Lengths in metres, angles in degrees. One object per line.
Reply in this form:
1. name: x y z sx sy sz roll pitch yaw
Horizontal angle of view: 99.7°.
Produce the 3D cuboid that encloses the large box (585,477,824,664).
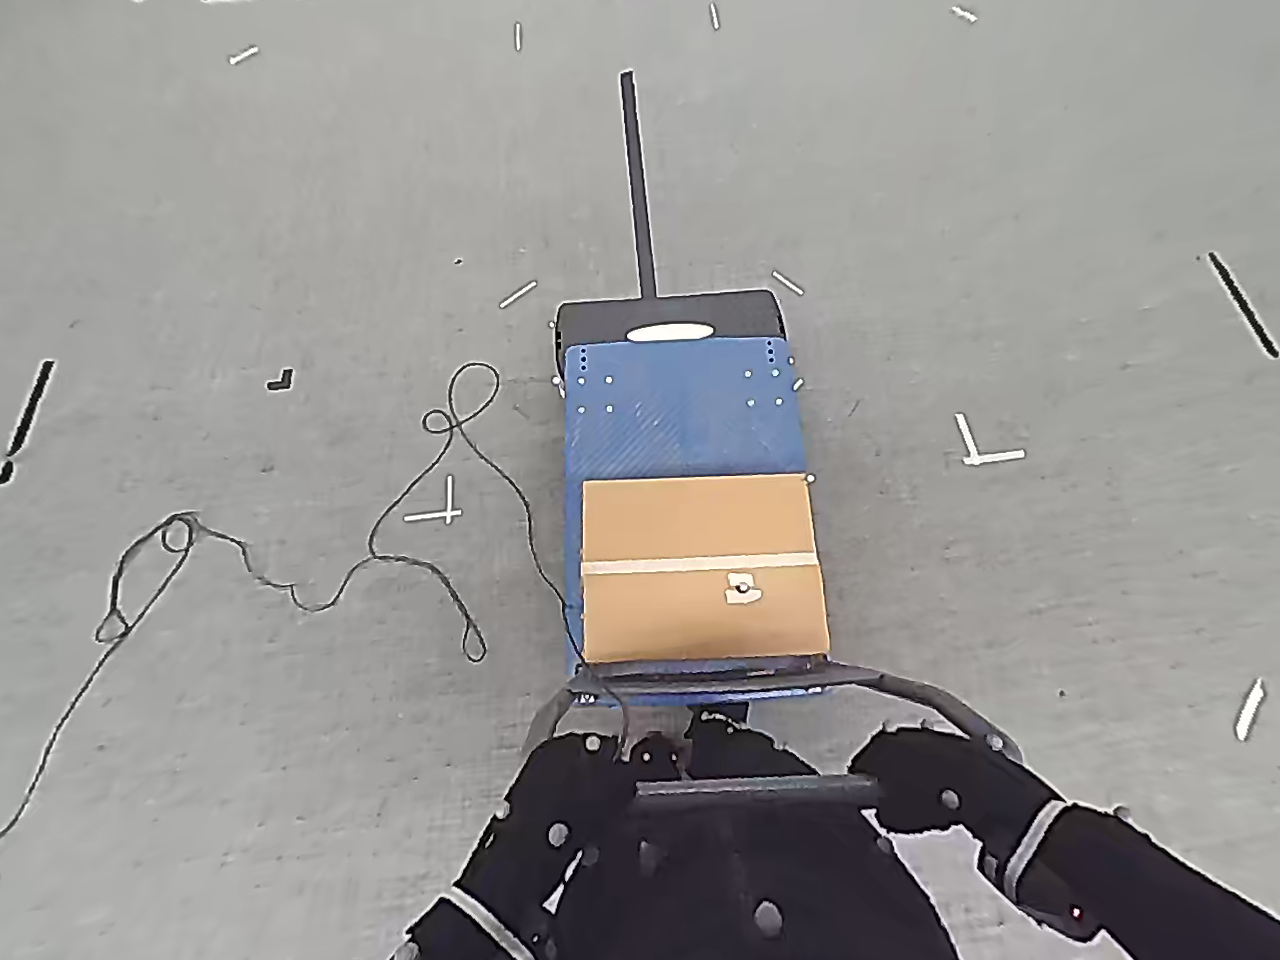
1. large box: 0.102 0.196 1.090 0.408 0.320 0.320 -2 73 -1
